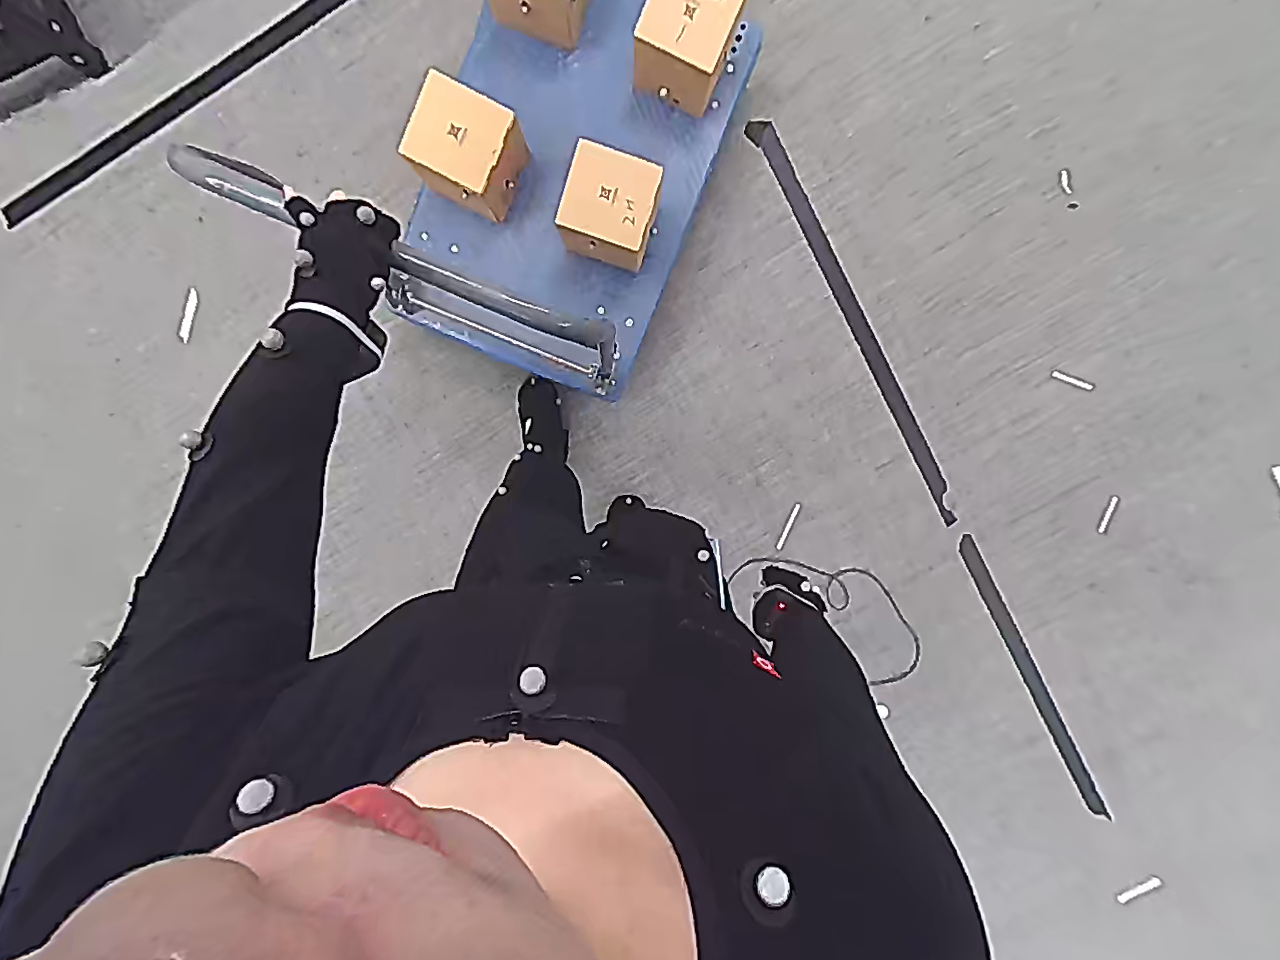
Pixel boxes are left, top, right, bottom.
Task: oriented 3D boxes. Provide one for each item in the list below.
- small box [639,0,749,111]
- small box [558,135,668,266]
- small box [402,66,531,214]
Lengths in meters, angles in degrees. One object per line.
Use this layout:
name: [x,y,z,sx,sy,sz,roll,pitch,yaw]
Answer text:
small box: [0.102,-0.890,1.073,0.168,0.176,0.179,24,98,-4]
small box: [-0.053,-0.565,1.118,0.179,0.176,0.168,18,98,-3]
small box: [-0.341,-0.674,1.098,0.179,0.176,0.168,25,97,-6]
